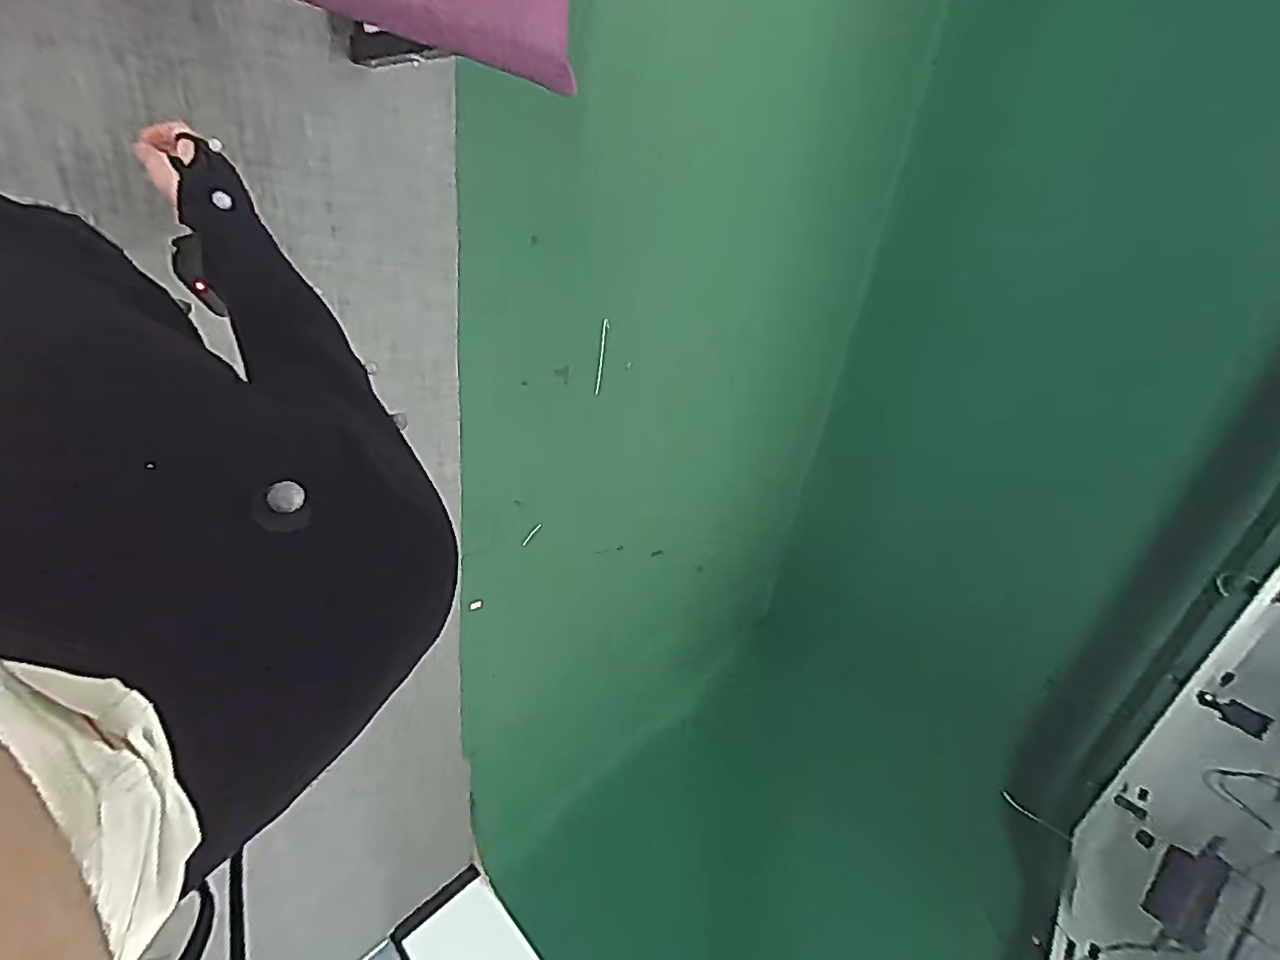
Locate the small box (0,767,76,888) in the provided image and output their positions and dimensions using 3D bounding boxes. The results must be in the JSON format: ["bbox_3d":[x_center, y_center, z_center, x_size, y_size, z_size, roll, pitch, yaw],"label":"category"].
[{"bbox_3d":[-1.529,0.850,1.321,0.179,0.176,0.168,-15,124,-45],"label":"small box"}]
